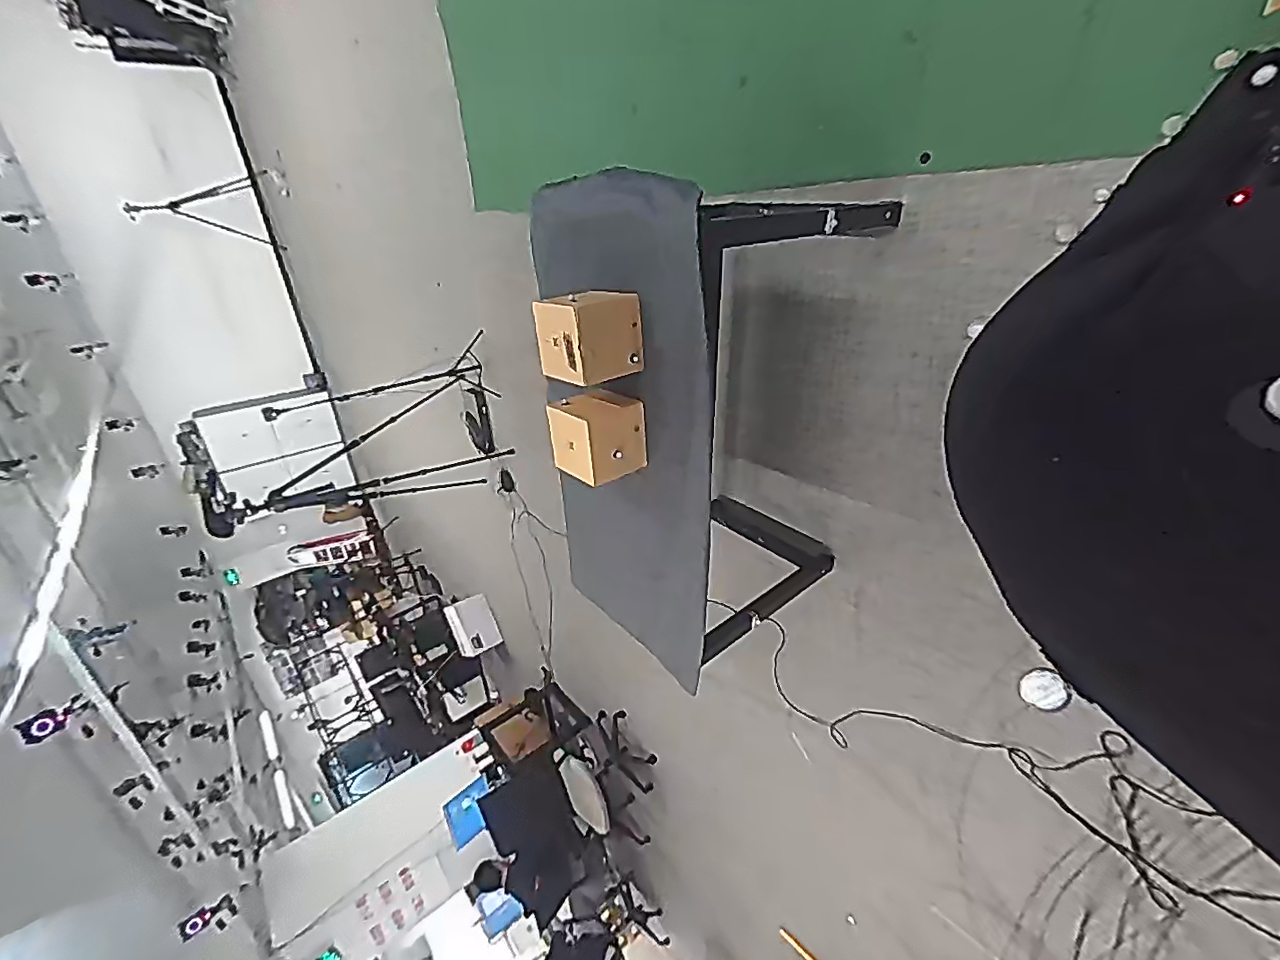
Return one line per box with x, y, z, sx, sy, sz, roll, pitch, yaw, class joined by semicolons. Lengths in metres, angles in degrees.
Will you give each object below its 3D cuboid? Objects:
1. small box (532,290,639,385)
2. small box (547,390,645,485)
-0.113;-0.323;1.201;0.179;0.176;0.168;25;129;46;small box
-0.099;-0.112;1.316;0.179;0.176;0.168;25;129;46;small box
